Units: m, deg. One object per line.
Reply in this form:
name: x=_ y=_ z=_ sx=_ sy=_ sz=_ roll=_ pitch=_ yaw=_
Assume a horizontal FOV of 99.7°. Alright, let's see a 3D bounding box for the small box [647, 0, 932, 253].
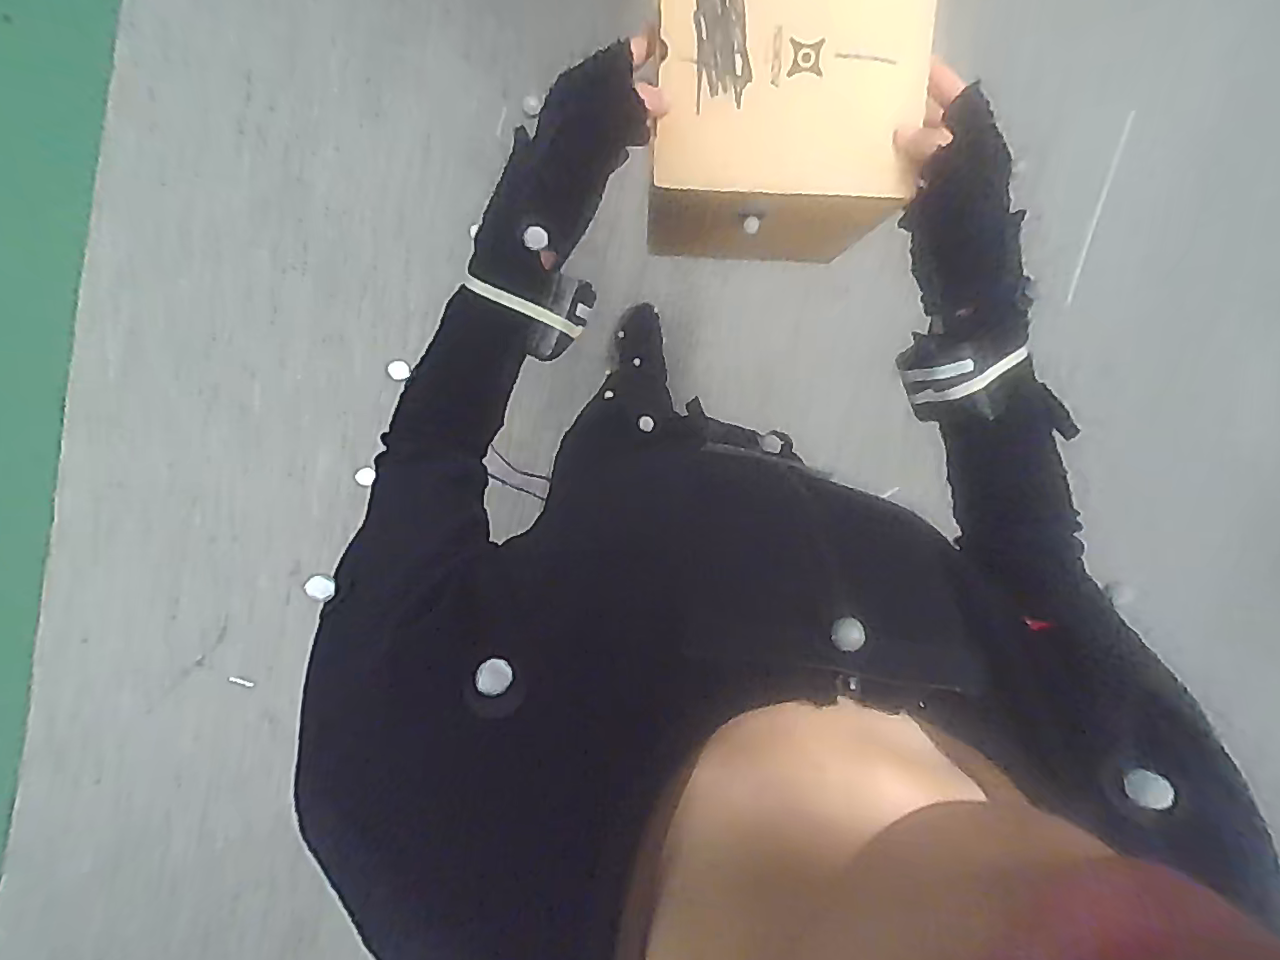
small box: x=0.096 y=-0.287 z=0.421 sx=0.179 sy=0.176 sz=0.168 roll=2 pitch=98 yaw=-1
